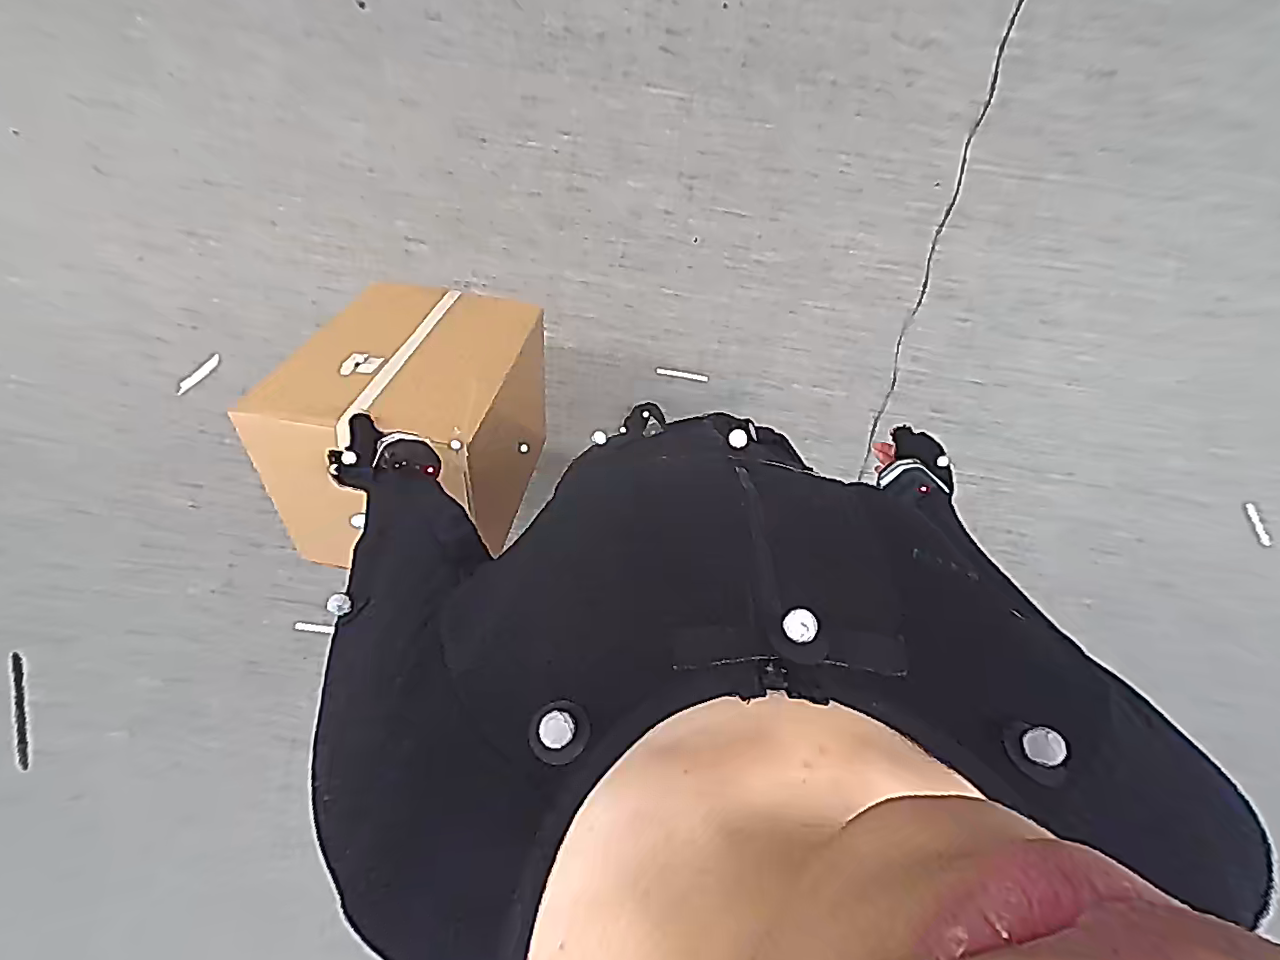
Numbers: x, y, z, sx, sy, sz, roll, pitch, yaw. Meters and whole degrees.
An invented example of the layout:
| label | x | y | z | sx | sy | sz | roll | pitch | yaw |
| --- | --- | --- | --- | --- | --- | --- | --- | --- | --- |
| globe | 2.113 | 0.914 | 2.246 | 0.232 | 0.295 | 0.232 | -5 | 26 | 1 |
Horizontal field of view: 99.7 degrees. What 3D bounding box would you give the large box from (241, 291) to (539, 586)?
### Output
| label | x | y | z | sx | sy | sz | roll | pitch | yaw |
| --- | --- | --- | --- | --- | --- | --- | --- | --- | --- |
| large box | -0.373 | -0.083 | 0.952 | 0.320 | 0.408 | 0.320 | 8 | 134 | 1 |
